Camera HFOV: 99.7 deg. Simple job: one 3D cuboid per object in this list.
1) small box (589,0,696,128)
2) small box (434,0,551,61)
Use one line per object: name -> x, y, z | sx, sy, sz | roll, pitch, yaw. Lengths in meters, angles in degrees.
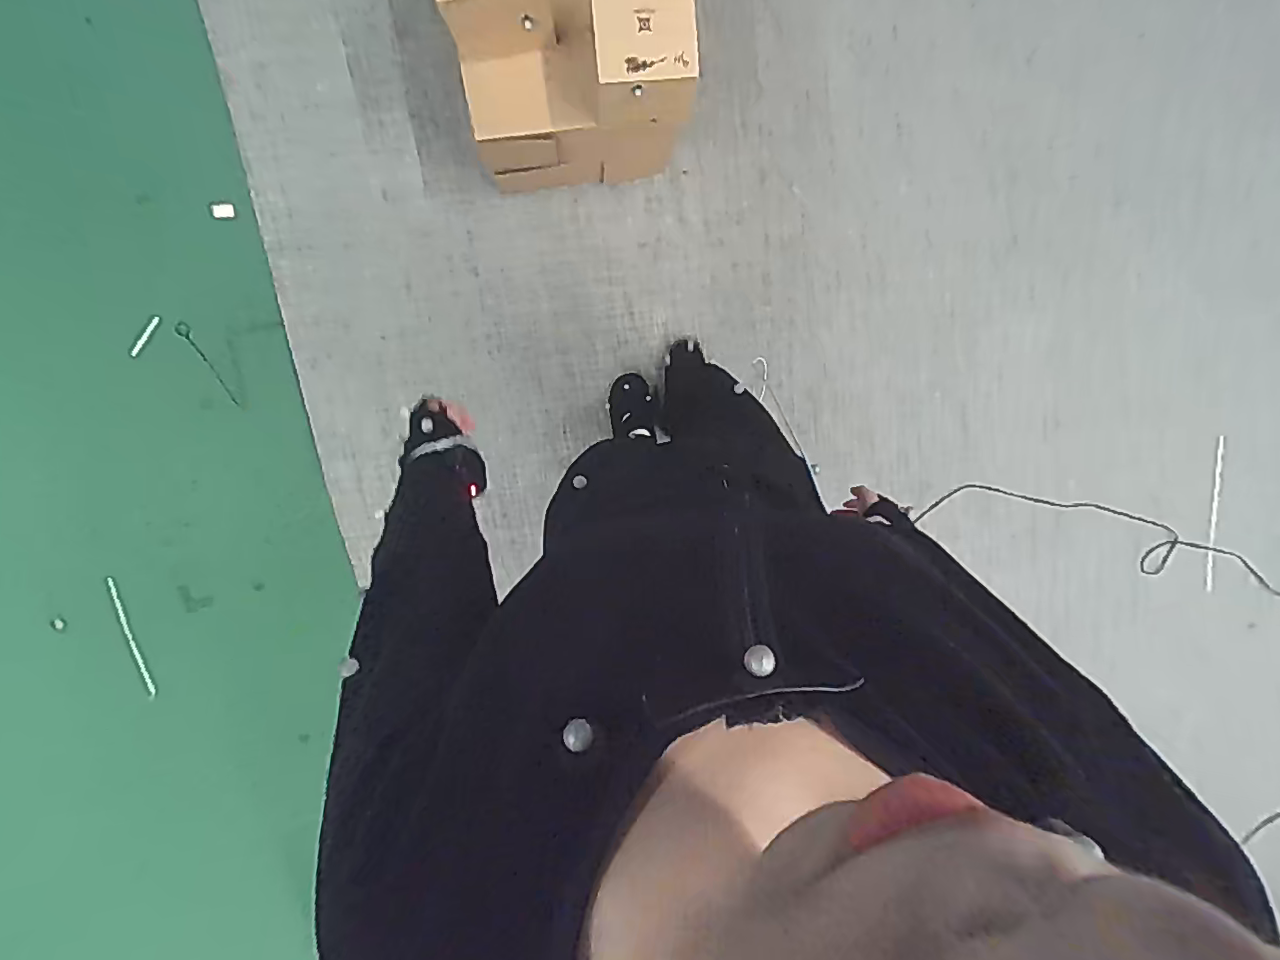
small box -> -0.001, -0.742, 0.932 | 0.168, 0.176, 0.179 | -5, 101, -2
small box -> -0.252, -0.847, 0.902 | 0.179, 0.176, 0.168 | -11, 100, 0
